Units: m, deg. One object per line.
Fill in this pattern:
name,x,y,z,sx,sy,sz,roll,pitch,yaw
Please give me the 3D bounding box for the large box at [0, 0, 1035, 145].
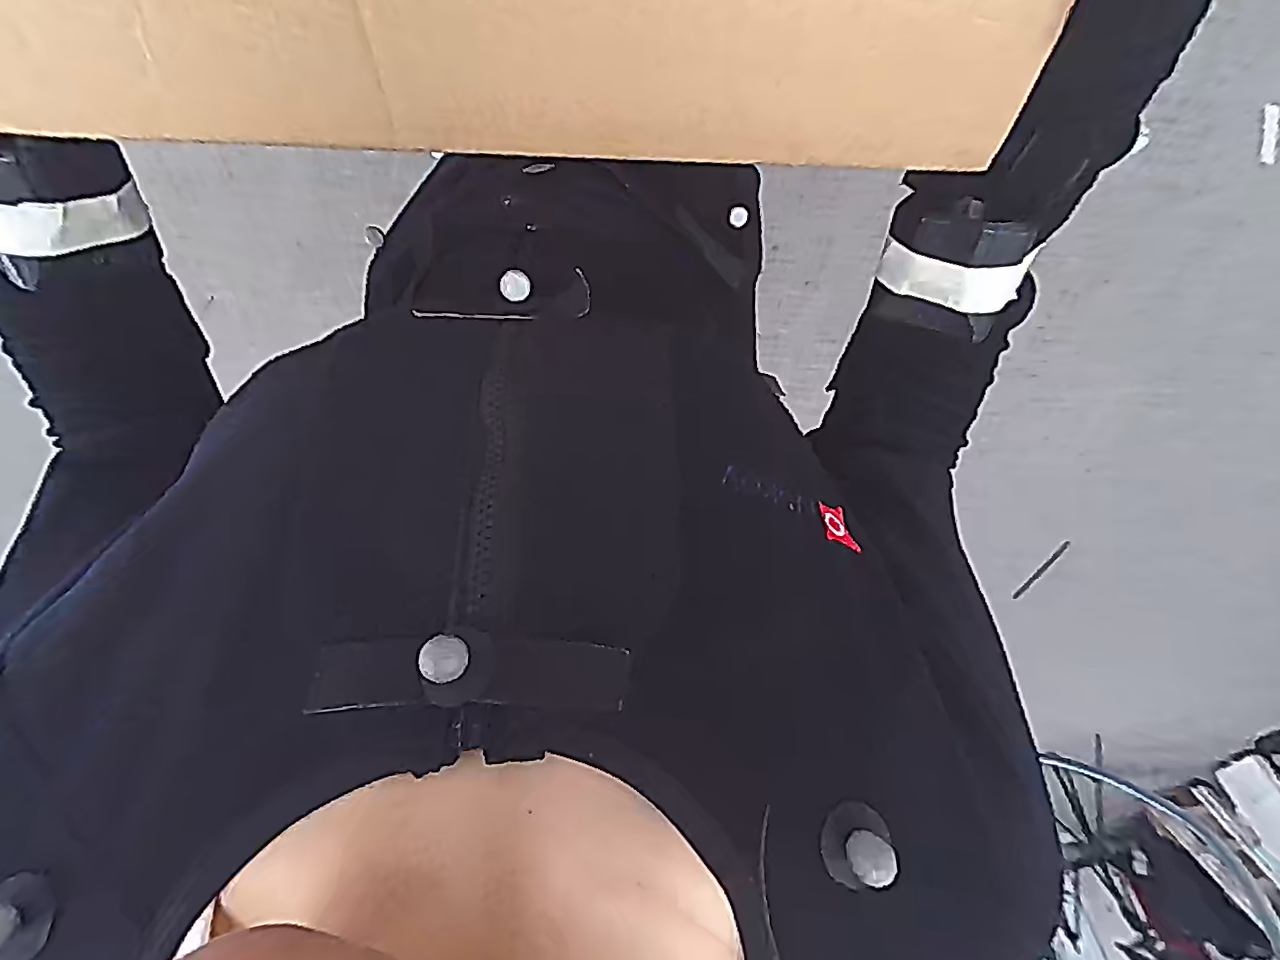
large box,-0.053,-0.355,0.191,0.408,0.320,0.320,1,143,-2
